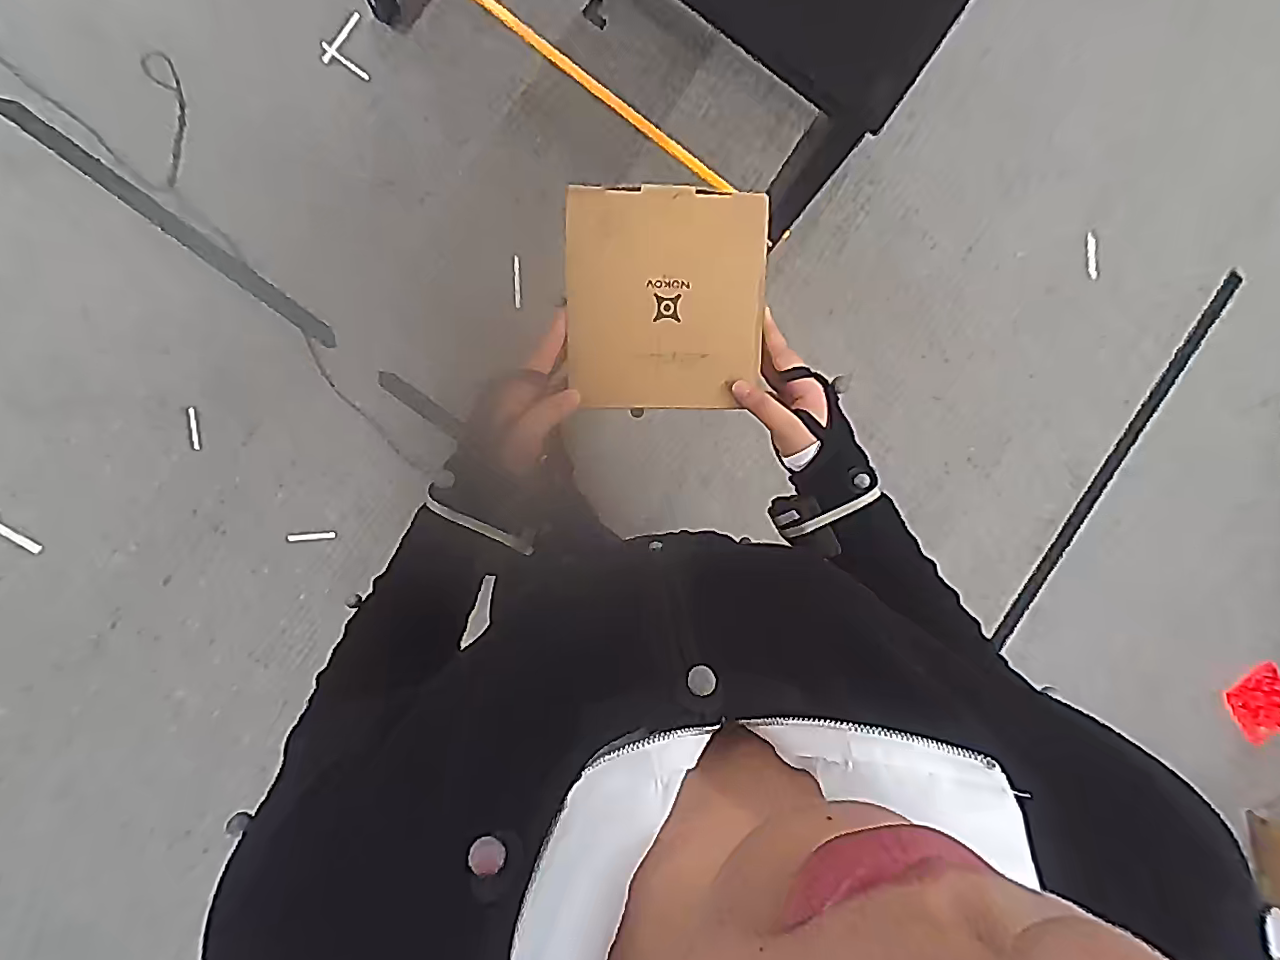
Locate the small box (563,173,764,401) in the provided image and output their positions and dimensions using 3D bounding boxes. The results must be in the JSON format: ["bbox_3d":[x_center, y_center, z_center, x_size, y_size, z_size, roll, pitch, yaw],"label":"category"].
[{"bbox_3d":[0.010,-0.170,0.525,0.168,0.176,0.179,0,101,-6],"label":"small box"}]

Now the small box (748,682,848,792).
[{"bbox_3d":[0.417,0.684,1.464,0.168,0.176,0.179,38,89,-5],"label":"small box"}]
